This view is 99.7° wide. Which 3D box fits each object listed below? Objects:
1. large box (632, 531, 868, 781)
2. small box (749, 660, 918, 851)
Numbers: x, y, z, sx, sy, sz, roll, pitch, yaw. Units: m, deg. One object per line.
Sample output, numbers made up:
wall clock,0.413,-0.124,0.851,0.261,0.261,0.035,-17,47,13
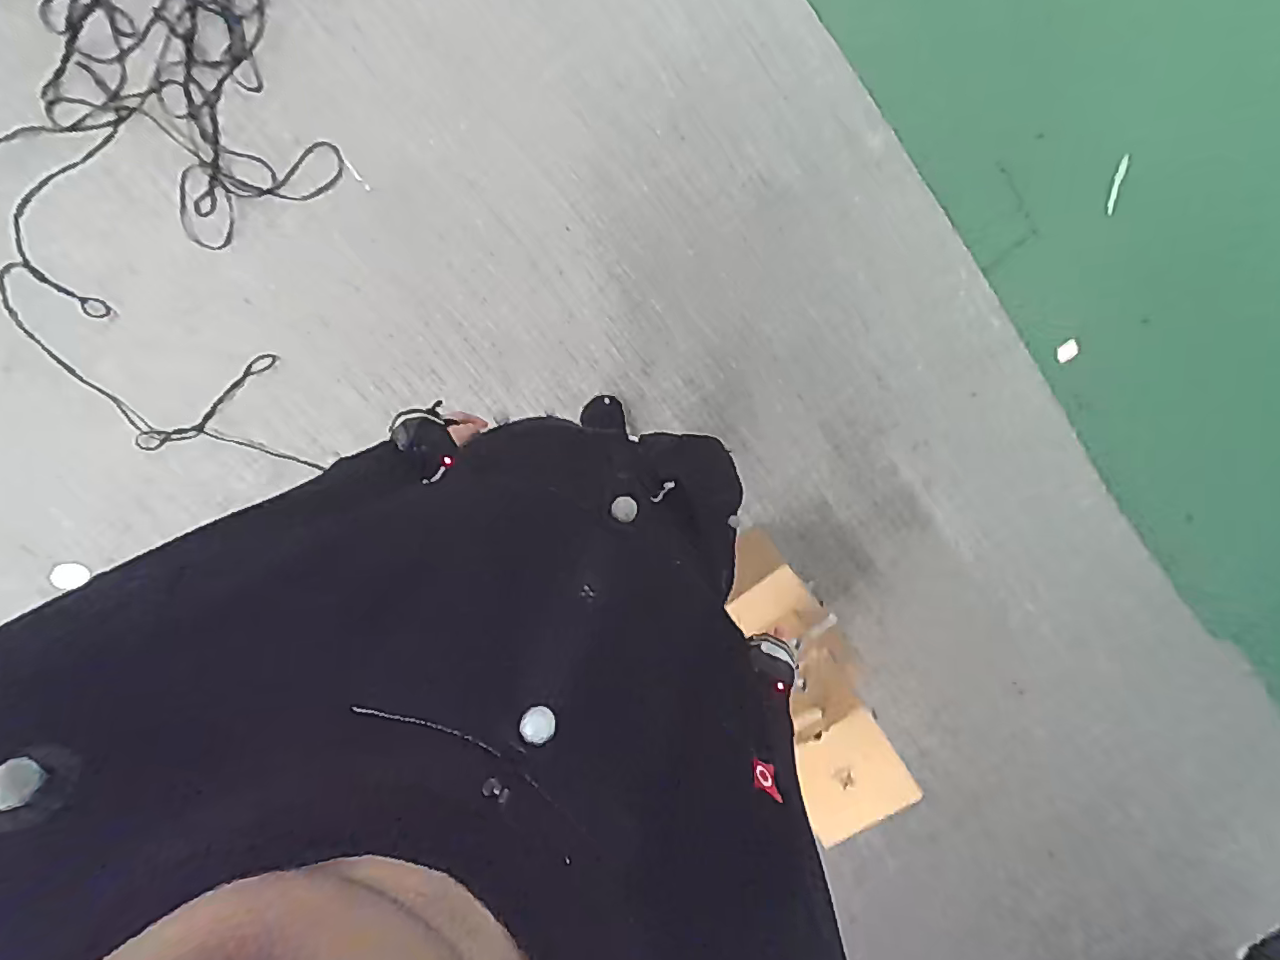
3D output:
large box,0.232,0.387,1.269,0.408,0.320,0.320,-38,97,8
small box,0.295,0.427,0.862,0.168,0.176,0.179,-32,98,6
